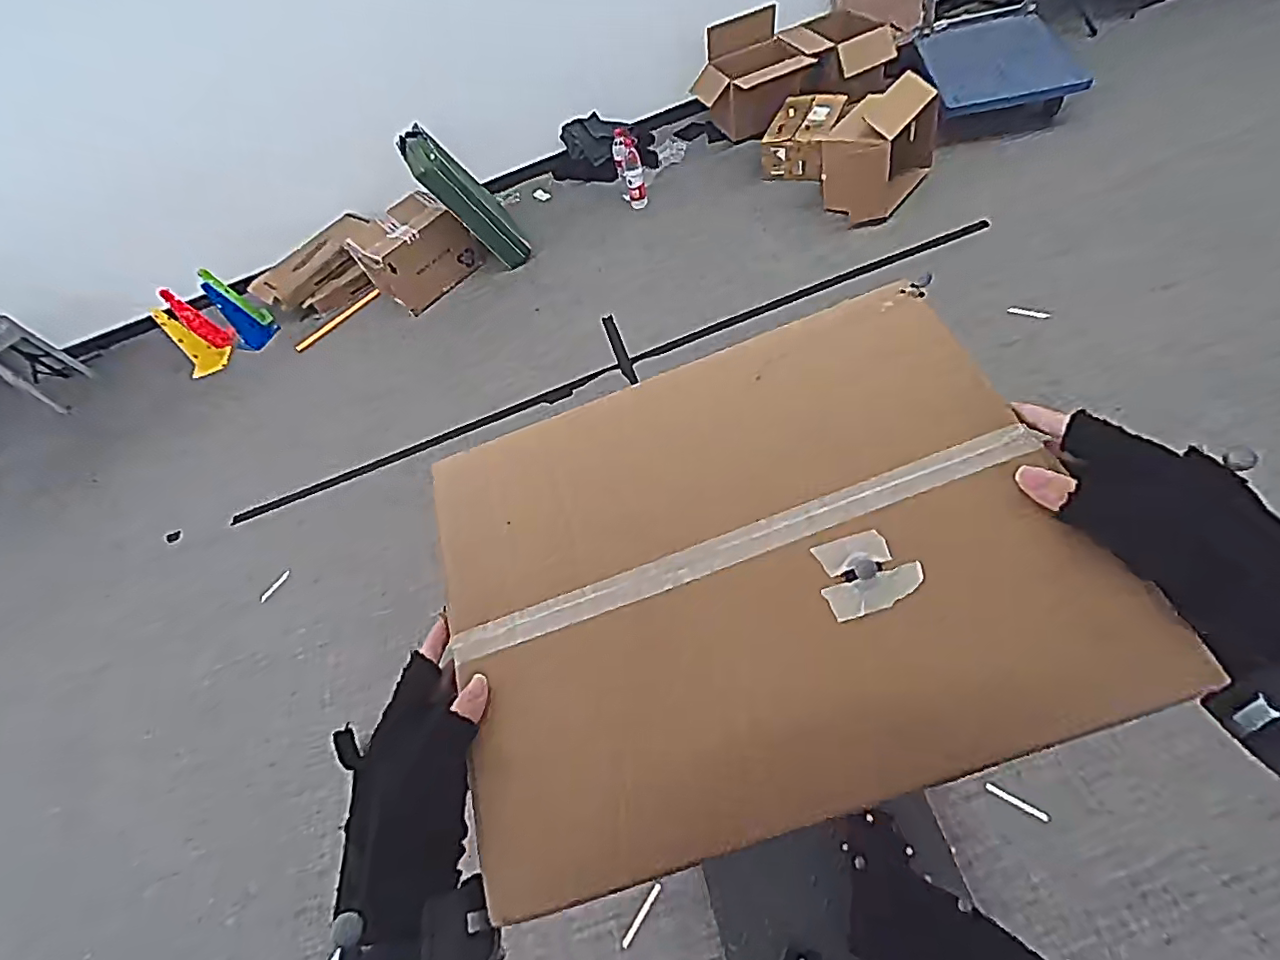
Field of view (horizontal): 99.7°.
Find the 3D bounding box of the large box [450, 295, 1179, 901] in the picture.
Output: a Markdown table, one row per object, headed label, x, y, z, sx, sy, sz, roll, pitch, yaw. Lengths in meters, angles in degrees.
| label | x | y | z | sx | sy | sz | roll | pitch | yaw |
| --- | --- | --- | --- | --- | --- | --- | --- | --- | --- |
| large box | 0.098 | 0.111 | 0.503 | 0.408 | 0.320 | 0.320 | -21 | 62 | 3 |
